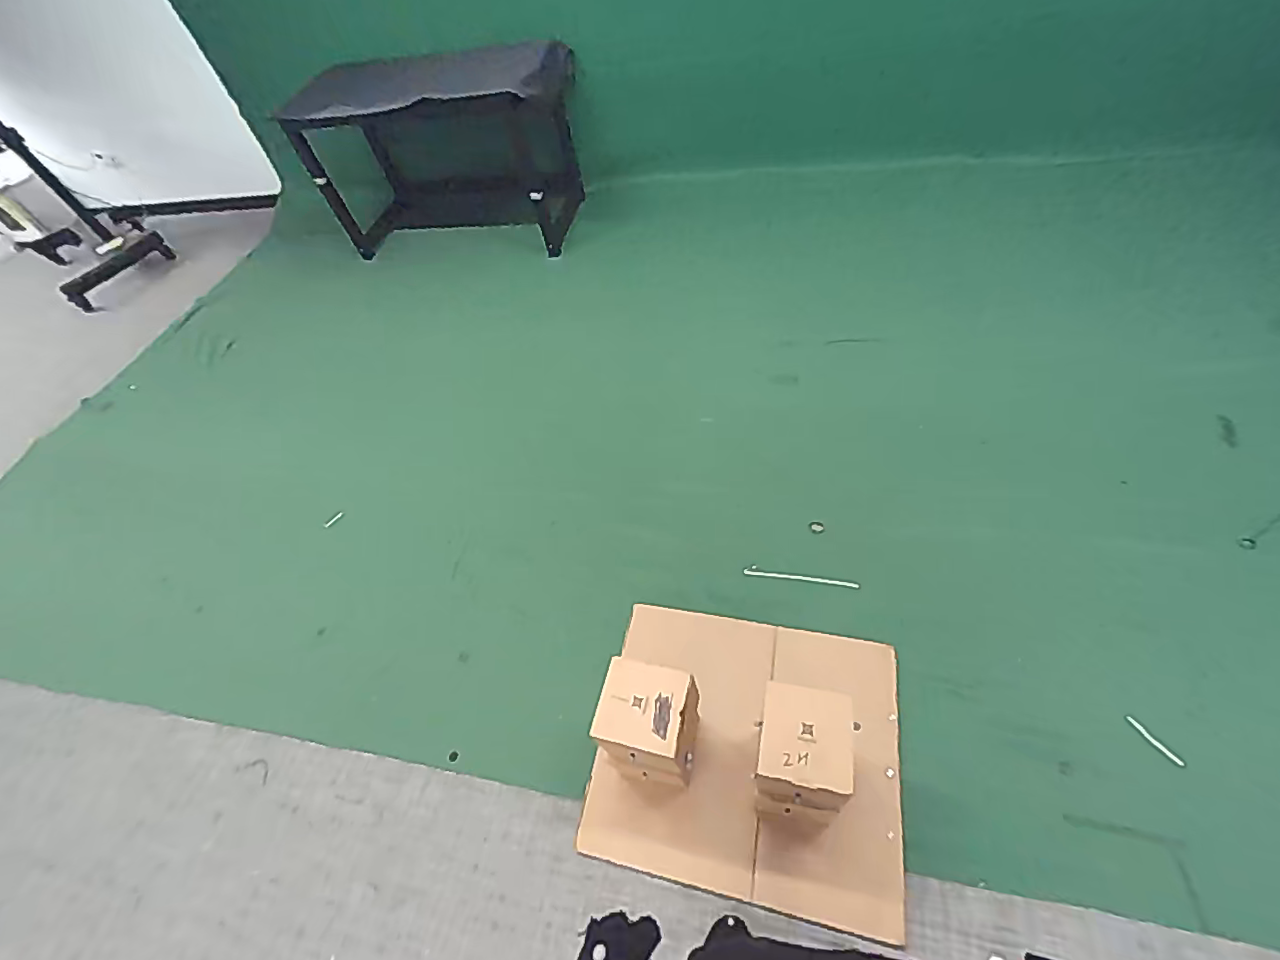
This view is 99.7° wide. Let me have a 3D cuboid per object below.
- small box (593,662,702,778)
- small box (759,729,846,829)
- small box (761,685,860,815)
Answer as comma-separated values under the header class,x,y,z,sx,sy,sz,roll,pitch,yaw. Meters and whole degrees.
class,x,y,z,sx,sy,sz,roll,pitch,yaw
small box,0.025,0.506,1.132,0.179,0.176,0.168,6,54,19
small box,0.351,0.638,1.179,0.168,0.176,0.179,4,54,14
small box,0.328,0.528,1.056,0.168,0.176,0.179,5,54,16
